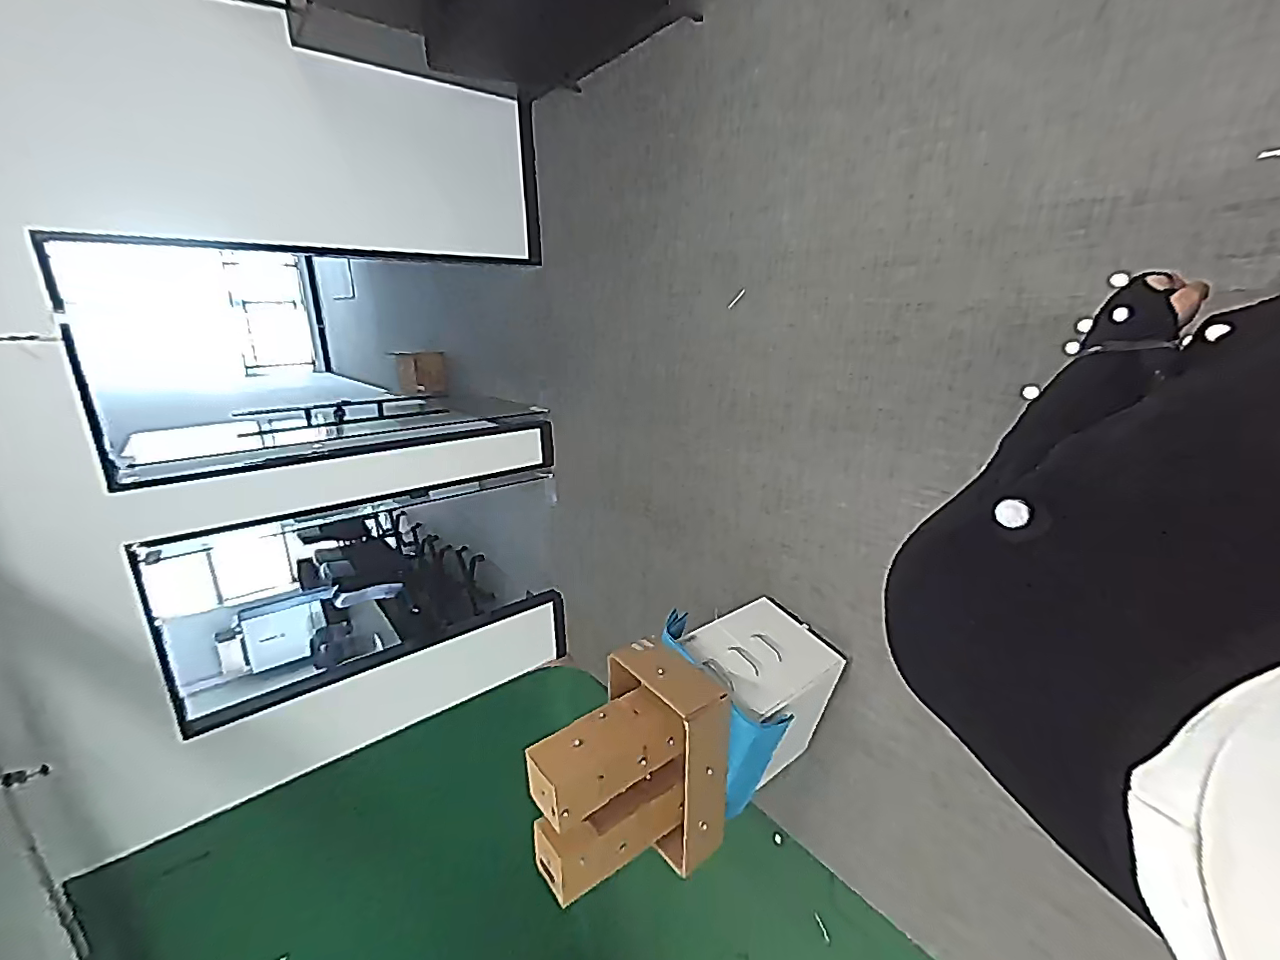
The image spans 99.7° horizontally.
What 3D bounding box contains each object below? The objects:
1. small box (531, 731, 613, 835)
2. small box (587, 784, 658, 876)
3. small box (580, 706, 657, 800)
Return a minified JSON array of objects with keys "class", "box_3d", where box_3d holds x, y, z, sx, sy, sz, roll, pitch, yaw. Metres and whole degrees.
[{"class":"small box","box_3d":[-0.194,0.856,1.553,0.179,0.176,0.168,19,117,51]},{"class":"small box","box_3d":[-0.056,1.085,1.715,0.168,0.176,0.179,18,114,50]},{"class":"small box","box_3d":[-0.065,0.819,1.646,0.179,0.176,0.168,19,117,50]}]
